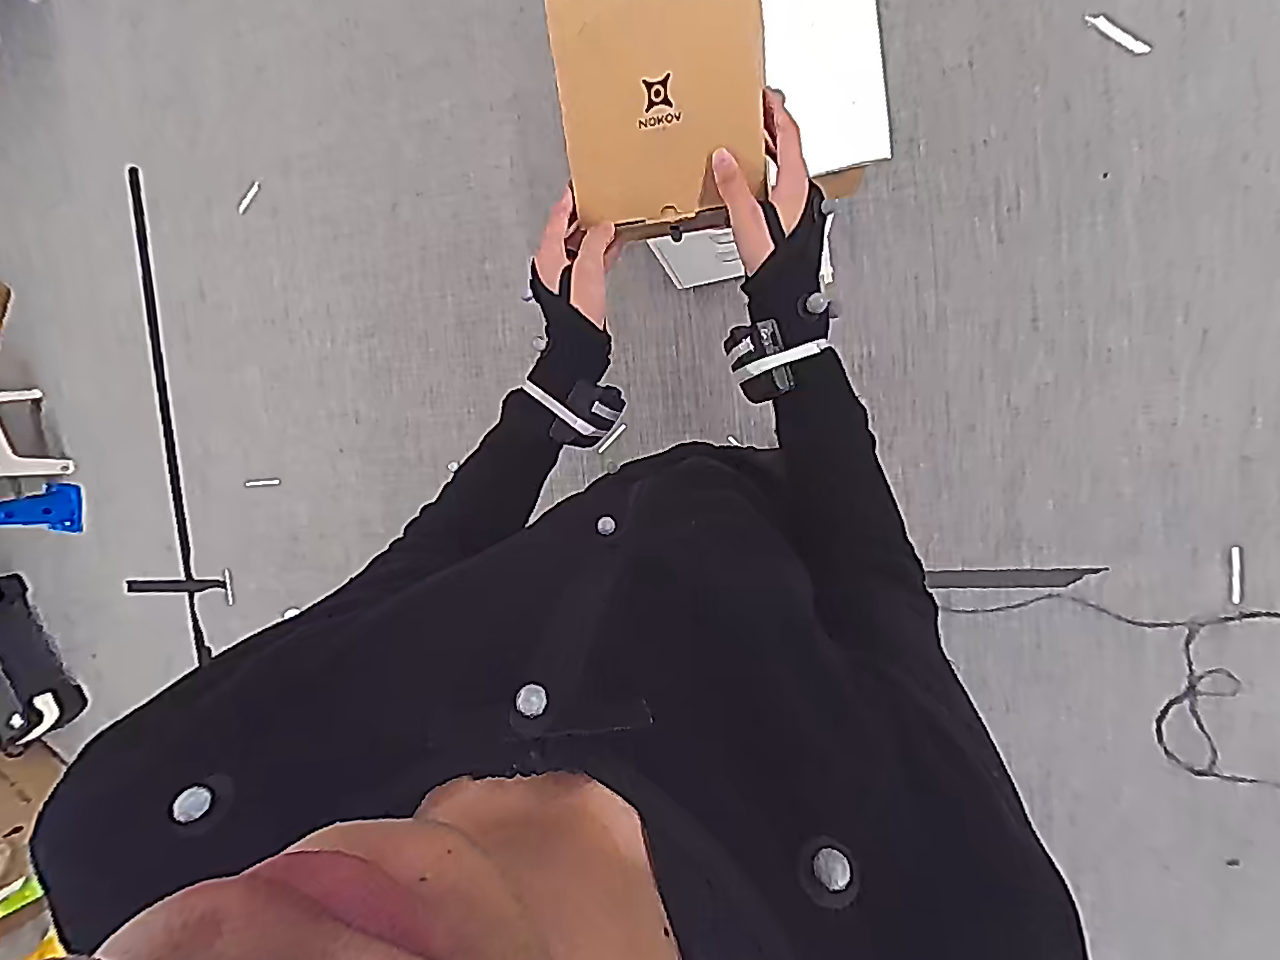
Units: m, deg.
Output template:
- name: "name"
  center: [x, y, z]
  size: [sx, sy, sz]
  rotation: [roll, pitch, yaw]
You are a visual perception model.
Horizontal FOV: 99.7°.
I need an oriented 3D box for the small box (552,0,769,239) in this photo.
- name: "small box"
  center: [0.034, -0.336, 0.511]
  size: [0.168, 0.176, 0.179]
  rotation: [-2, 112, 15]
